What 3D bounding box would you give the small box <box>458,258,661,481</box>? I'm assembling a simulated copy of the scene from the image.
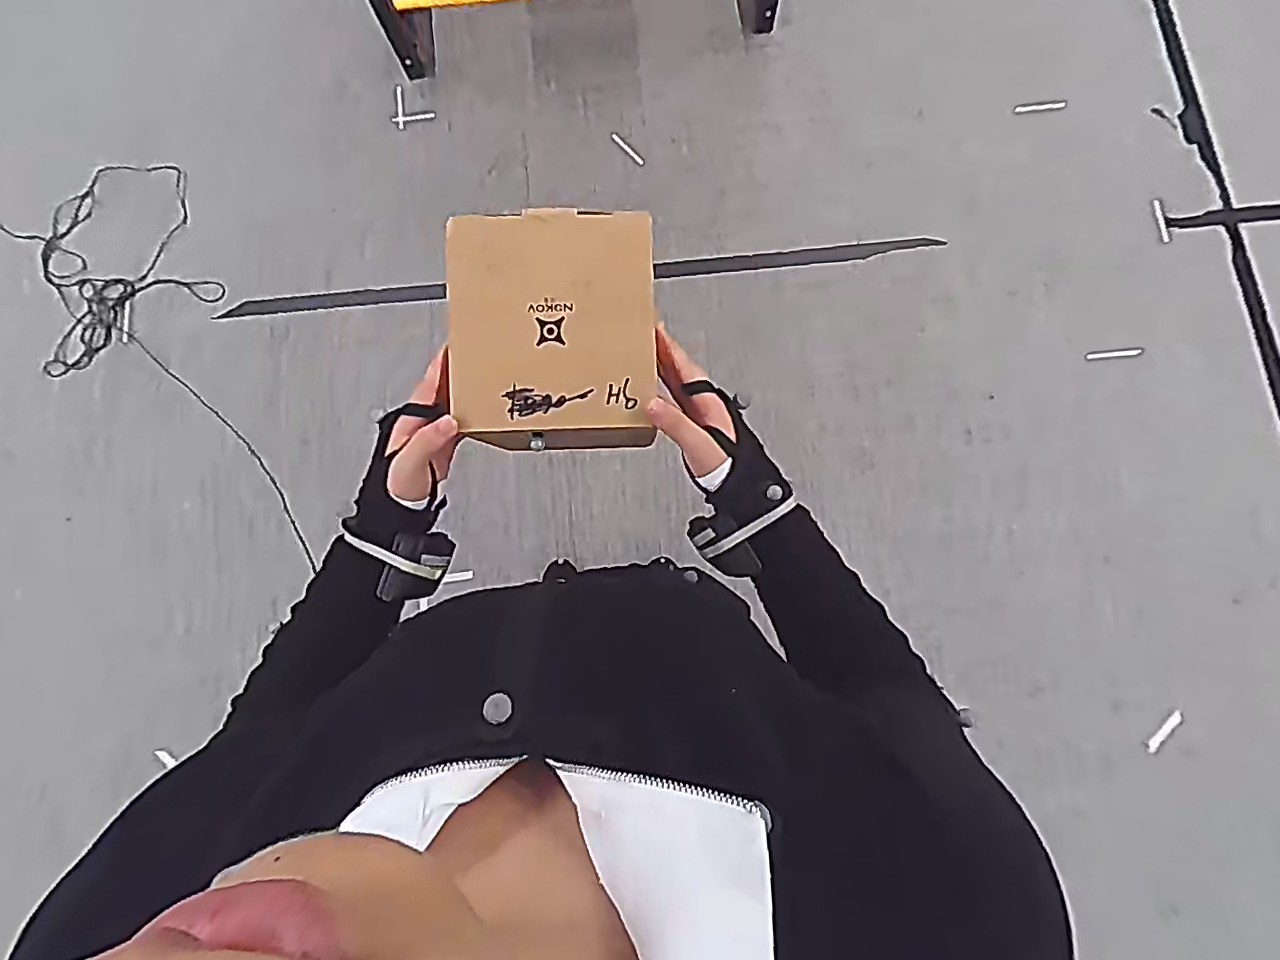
[{"bbox_3d":[-0.068,-0.091,0.521,0.168,0.176,0.179,-1,88,-1],"label":"small box"}]
